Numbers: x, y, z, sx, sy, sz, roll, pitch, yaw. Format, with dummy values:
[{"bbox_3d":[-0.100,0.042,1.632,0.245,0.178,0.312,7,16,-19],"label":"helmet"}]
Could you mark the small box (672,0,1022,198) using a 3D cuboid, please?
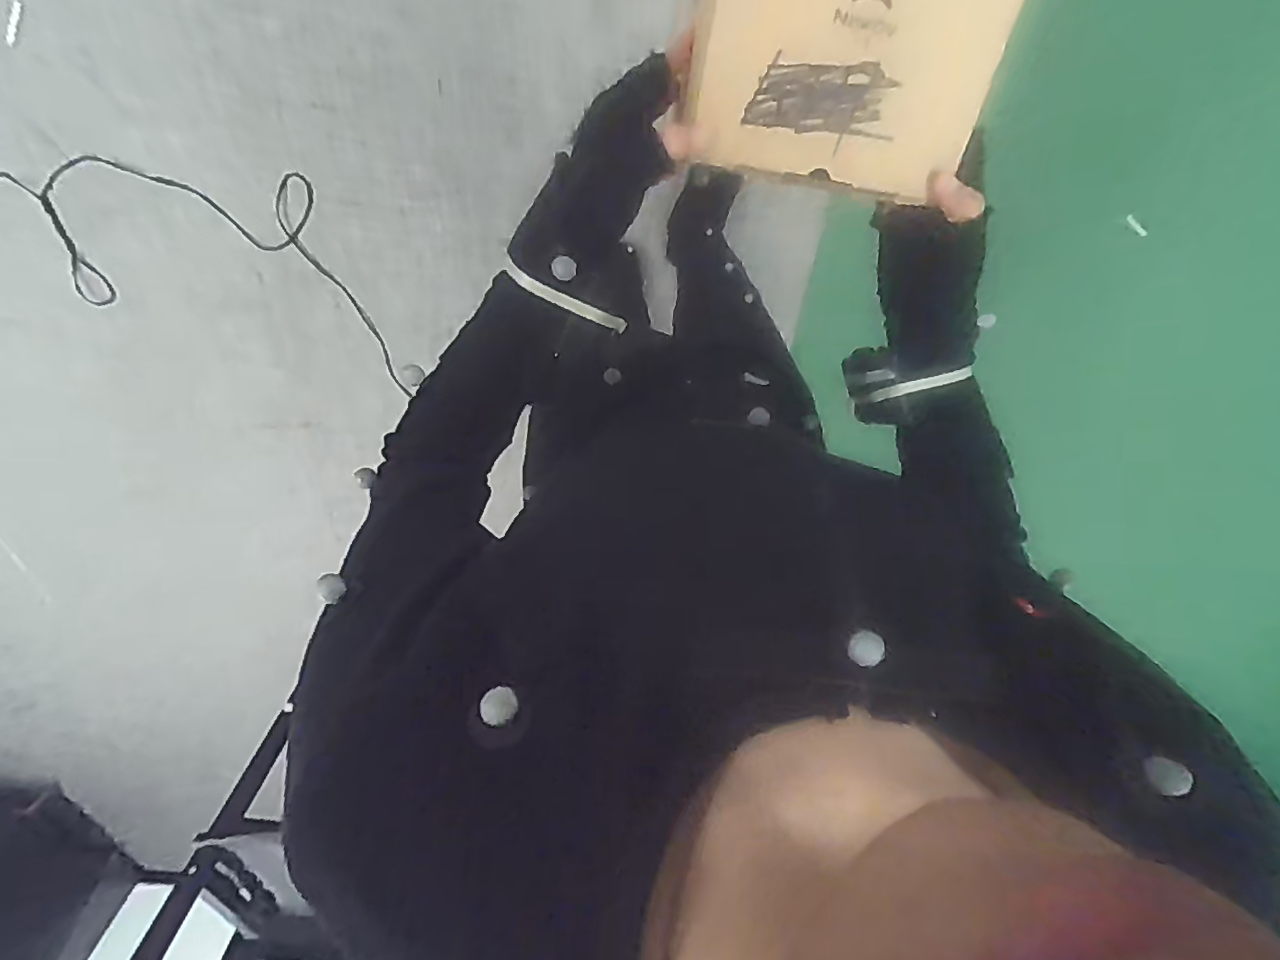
[{"bbox_3d":[0.119,-0.299,0.352,0.168,0.176,0.179,7,119,-7],"label":"small box"}]
